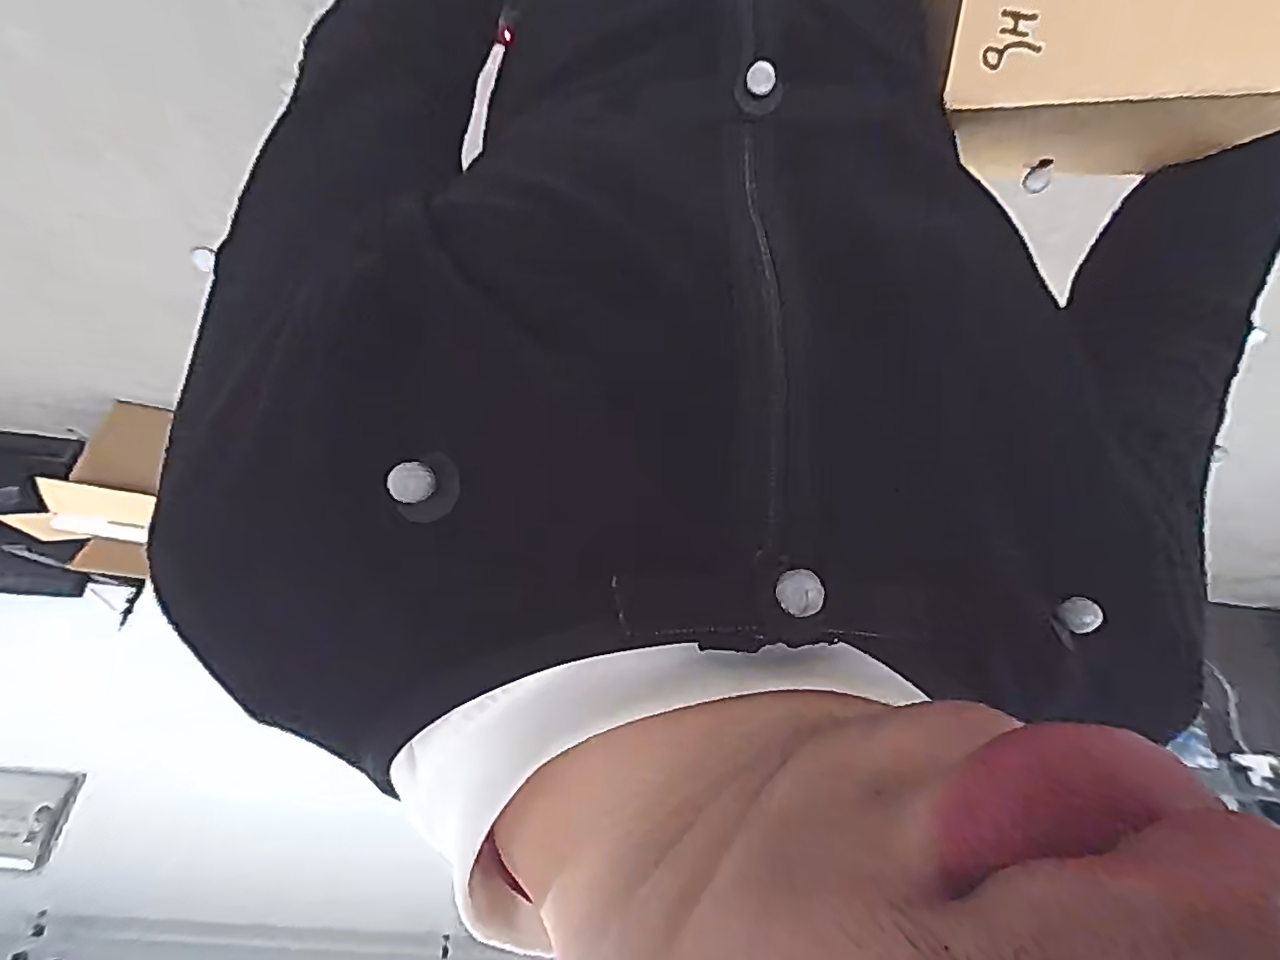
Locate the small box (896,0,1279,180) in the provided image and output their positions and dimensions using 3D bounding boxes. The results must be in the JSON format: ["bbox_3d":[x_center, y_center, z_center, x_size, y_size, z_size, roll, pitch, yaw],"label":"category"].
[{"bbox_3d":[0.271,-0.286,0.317,0.179,0.168,0.176,8,-161,14],"label":"small box"}]
